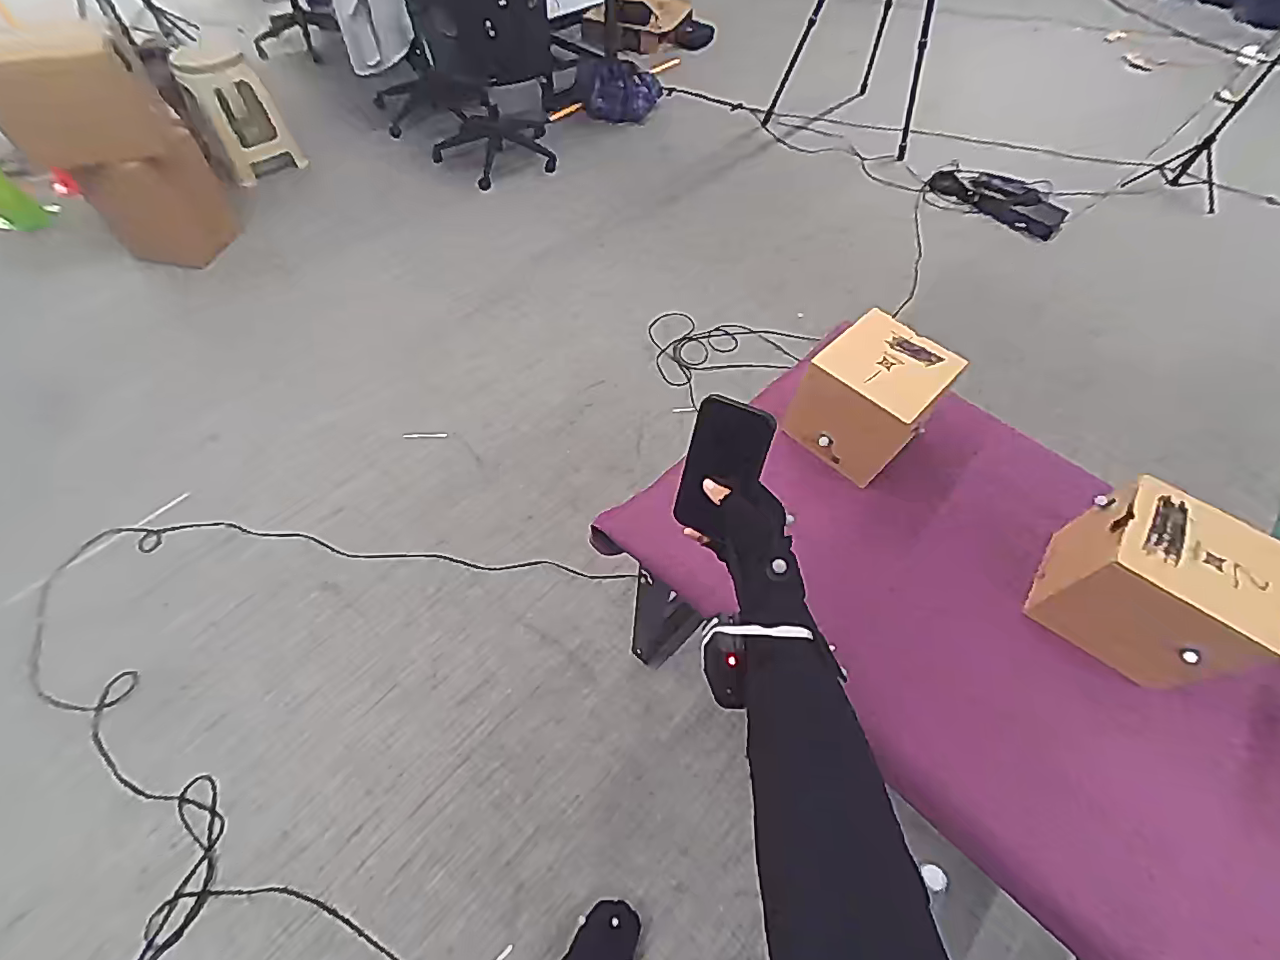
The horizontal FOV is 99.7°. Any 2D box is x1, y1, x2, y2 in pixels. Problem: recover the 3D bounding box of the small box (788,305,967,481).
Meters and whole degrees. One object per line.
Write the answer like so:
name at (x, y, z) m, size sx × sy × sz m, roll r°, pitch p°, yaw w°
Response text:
small box at (0.361, -0.133, 0.853) m, size 0.179 × 0.176 × 0.168 m, roll -39°, pitch 66°, yaw -23°
